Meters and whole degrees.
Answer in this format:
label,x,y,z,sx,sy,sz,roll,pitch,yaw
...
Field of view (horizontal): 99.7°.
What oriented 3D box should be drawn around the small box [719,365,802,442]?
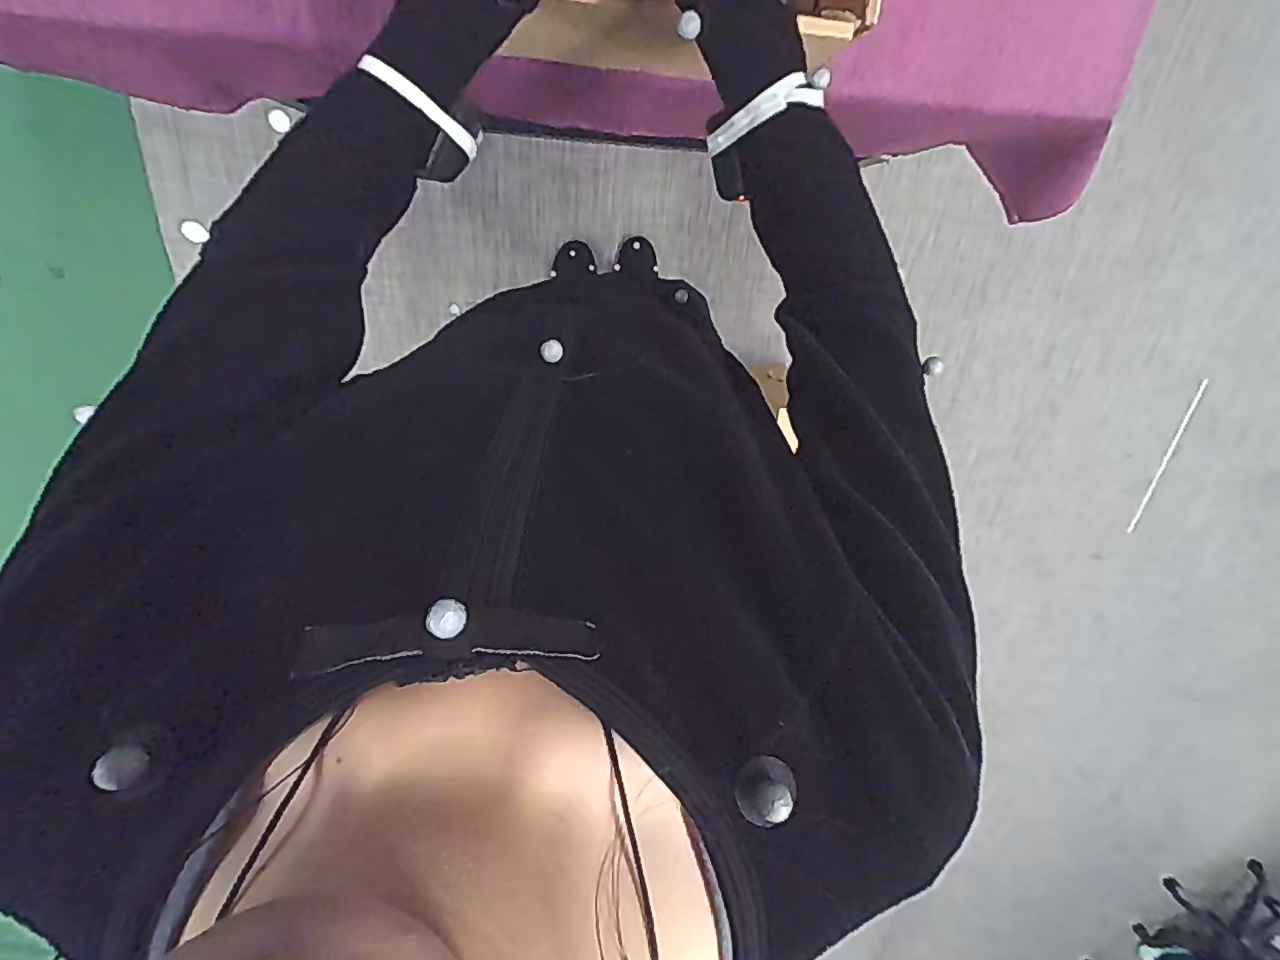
label,x,y,z,sx,sy,sz,roll,pitch,yaw
small box,0.307,-0.204,1.423,0.179,0.176,0.168,-2,114,-2
